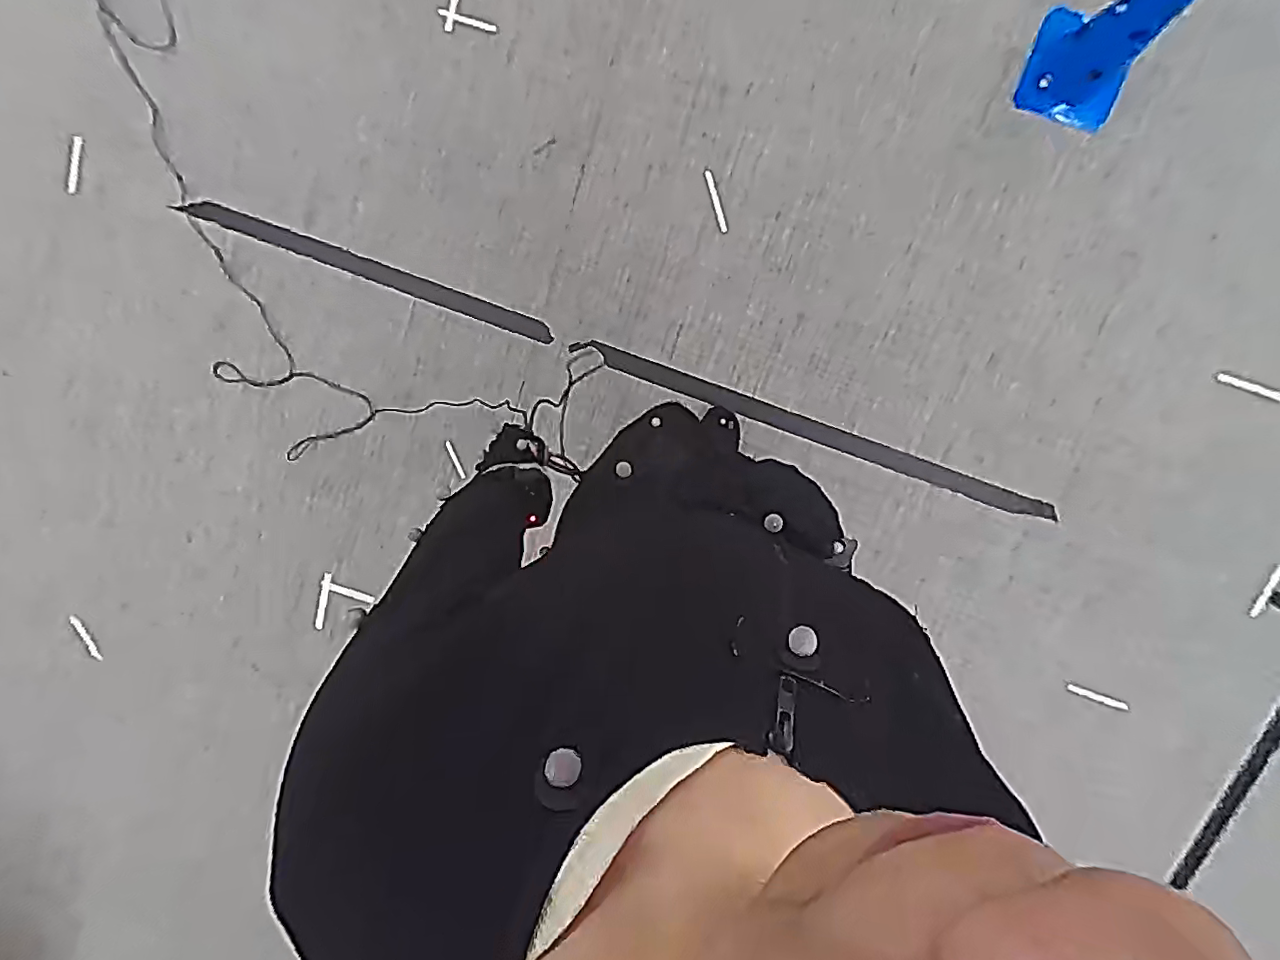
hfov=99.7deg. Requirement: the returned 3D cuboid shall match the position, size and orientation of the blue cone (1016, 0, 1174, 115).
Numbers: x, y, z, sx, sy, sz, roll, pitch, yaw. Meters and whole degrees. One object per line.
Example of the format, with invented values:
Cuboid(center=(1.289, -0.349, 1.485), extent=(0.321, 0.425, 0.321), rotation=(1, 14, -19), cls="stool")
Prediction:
Cuboid(center=(0.886, -0.849, 0.963), extent=(0.193, 0.380, 0.192), rotation=(20, 100, 2), cls="blue cone")
